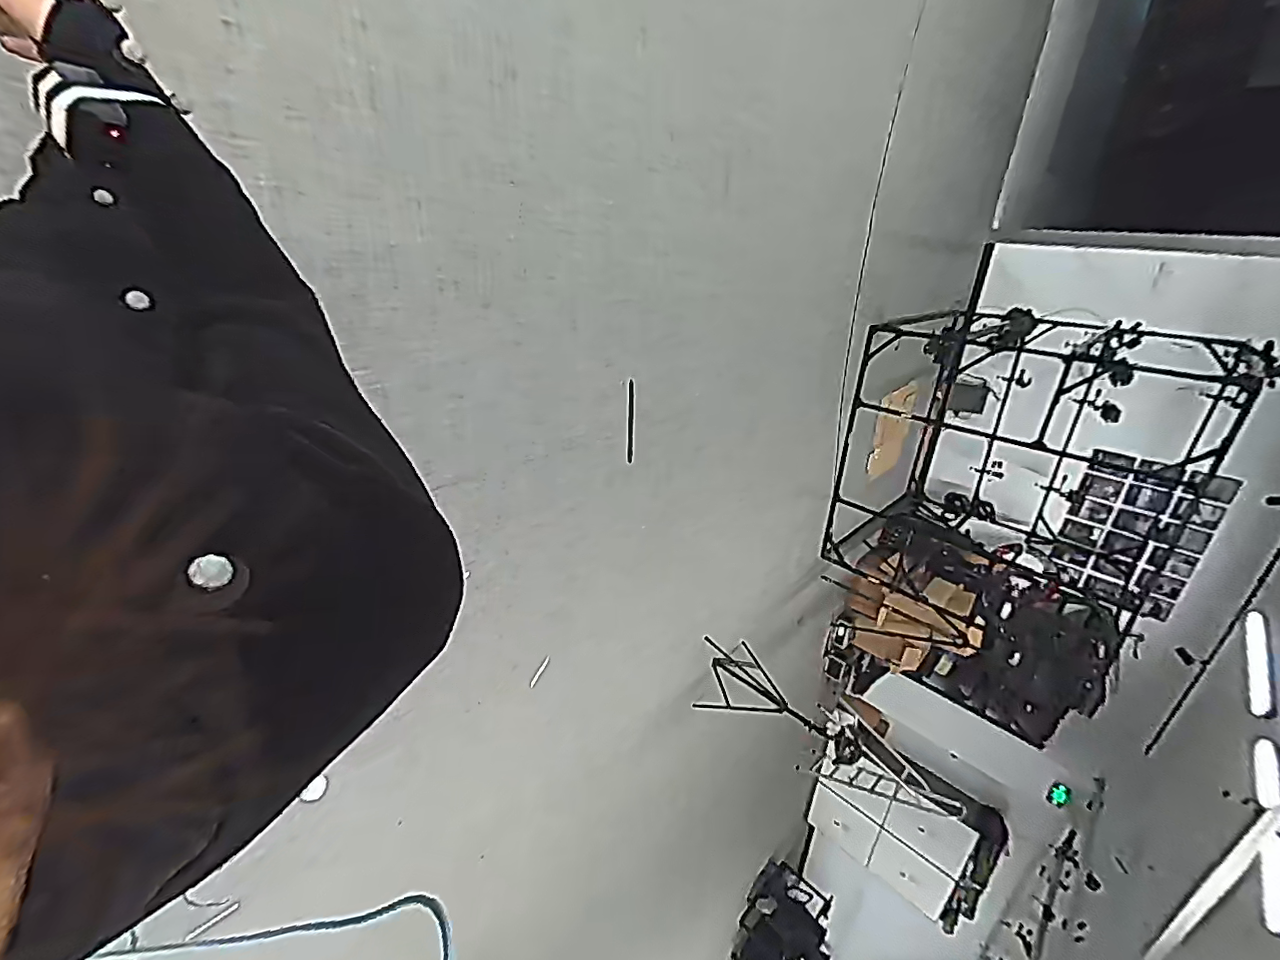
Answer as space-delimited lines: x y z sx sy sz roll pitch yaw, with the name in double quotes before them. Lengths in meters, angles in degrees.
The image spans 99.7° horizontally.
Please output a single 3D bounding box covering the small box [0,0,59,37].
"small box" -0.583 -0.485 0.413 0.179 0.176 0.168 0 105 -55
